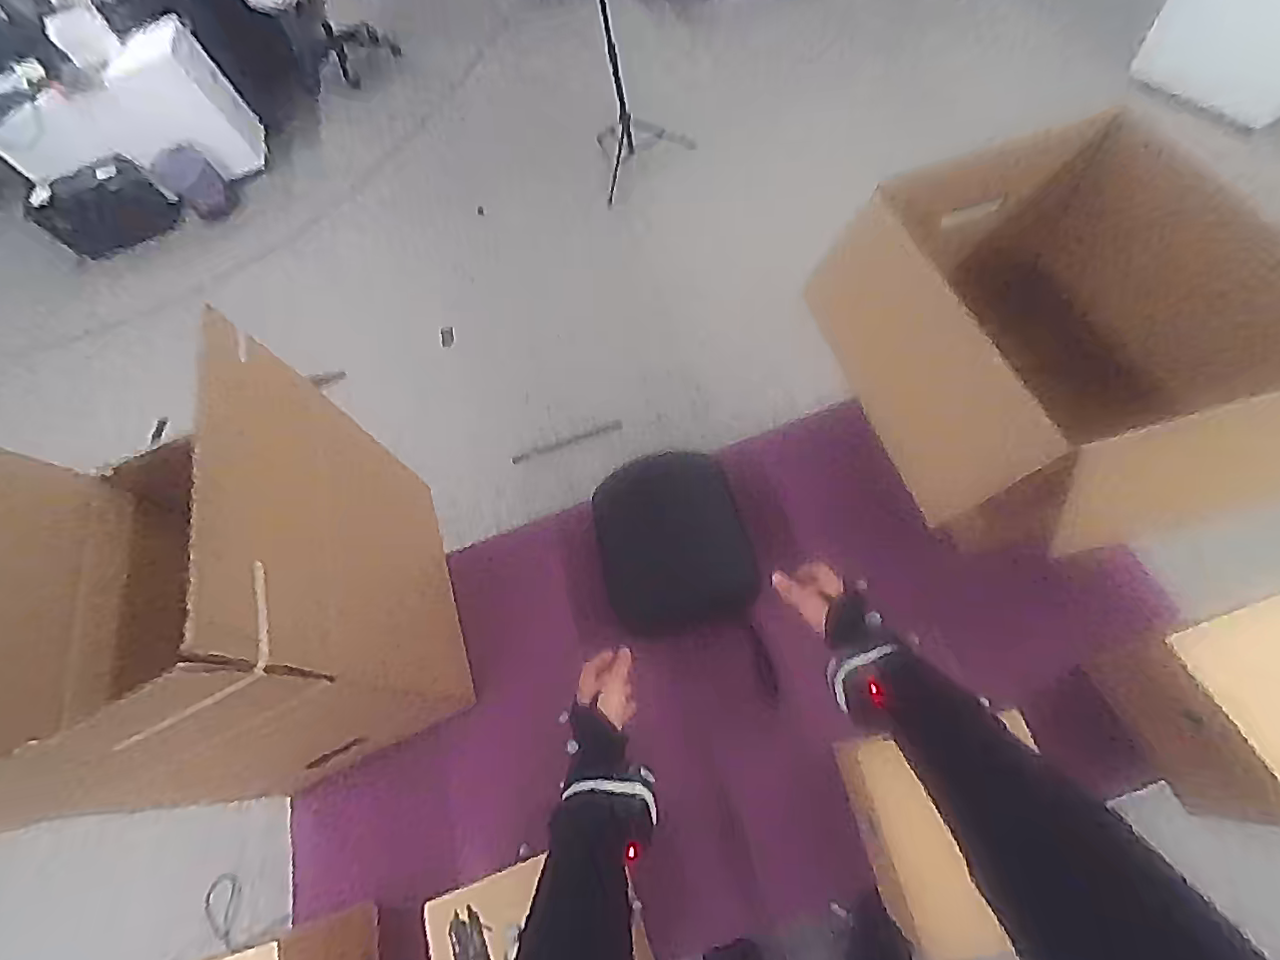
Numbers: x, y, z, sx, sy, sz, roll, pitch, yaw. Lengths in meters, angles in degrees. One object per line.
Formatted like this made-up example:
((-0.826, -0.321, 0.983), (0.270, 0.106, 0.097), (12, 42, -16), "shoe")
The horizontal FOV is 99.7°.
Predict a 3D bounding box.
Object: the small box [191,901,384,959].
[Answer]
((-0.415, 0.608, 0.605), (0.179, 0.176, 0.168), (-19, 62, 1), "small box")

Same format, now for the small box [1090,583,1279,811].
((0.634, 0.225, 0.561), (0.168, 0.176, 0.179), (-22, 62, 3), "small box")

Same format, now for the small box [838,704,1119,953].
((0.325, 0.349, 0.570), (0.168, 0.176, 0.179), (-15, 64, 5), "small box")
